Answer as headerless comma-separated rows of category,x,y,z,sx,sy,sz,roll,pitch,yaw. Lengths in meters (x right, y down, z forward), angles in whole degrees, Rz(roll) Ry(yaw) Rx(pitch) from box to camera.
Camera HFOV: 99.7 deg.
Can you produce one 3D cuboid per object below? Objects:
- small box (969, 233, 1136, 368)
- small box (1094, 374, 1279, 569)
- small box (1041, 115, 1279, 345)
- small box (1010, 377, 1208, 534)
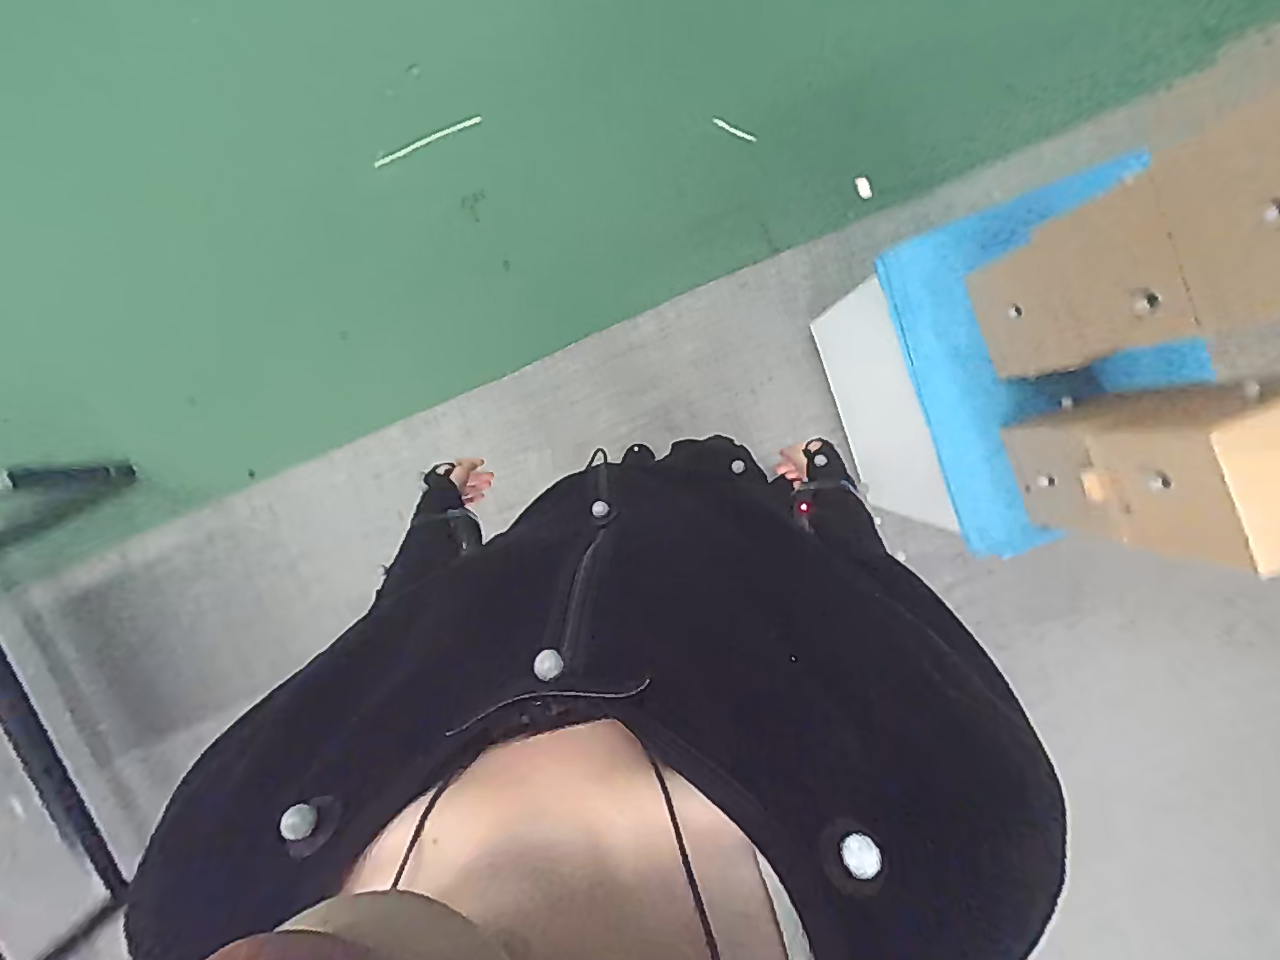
small box,0.616,-0.269,0.773,0.168,0.176,0.179,-21,94,2
small box,0.685,-0.016,0.630,0.179,0.176,0.168,-23,93,1
small box,0.608,-0.264,0.609,0.168,0.176,0.179,-21,94,2
small box,0.685,-0.036,0.792,0.179,0.176,0.168,-20,94,3
